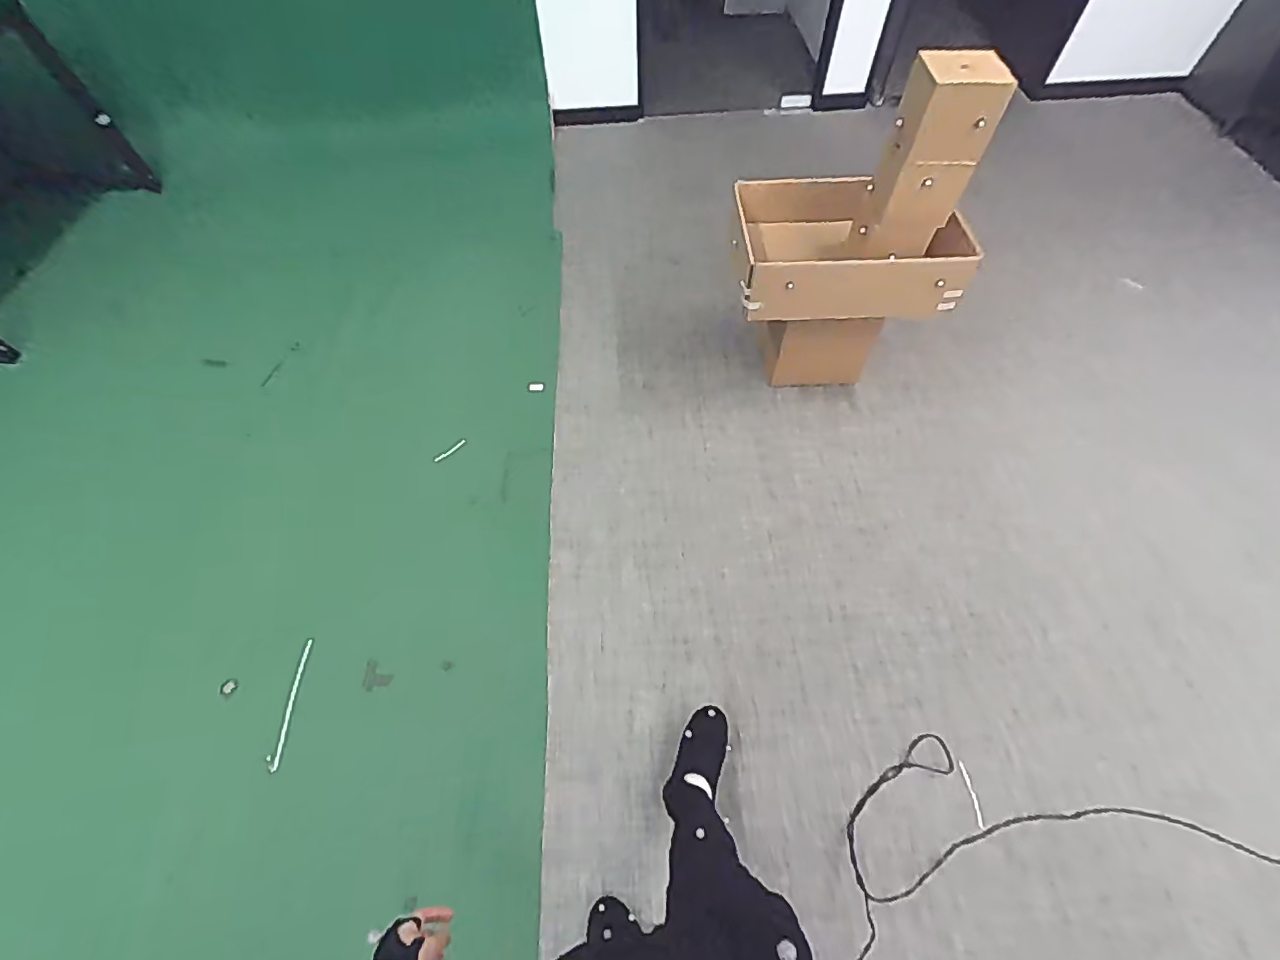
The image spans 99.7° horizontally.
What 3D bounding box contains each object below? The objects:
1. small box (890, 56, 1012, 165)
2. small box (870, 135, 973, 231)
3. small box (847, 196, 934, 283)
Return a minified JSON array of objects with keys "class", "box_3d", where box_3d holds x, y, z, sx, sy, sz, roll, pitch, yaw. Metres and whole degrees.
[{"class":"small box","box_3d":[0.723,-0.868,1.279,0.179,0.176,0.168,0,57,2]},{"class":"small box","box_3d":[0.721,-0.773,1.412,0.179,0.176,0.168,1,58,1]},{"class":"small box","box_3d":[0.710,-0.688,1.552,0.168,0.176,0.179,2,58,2]}]
